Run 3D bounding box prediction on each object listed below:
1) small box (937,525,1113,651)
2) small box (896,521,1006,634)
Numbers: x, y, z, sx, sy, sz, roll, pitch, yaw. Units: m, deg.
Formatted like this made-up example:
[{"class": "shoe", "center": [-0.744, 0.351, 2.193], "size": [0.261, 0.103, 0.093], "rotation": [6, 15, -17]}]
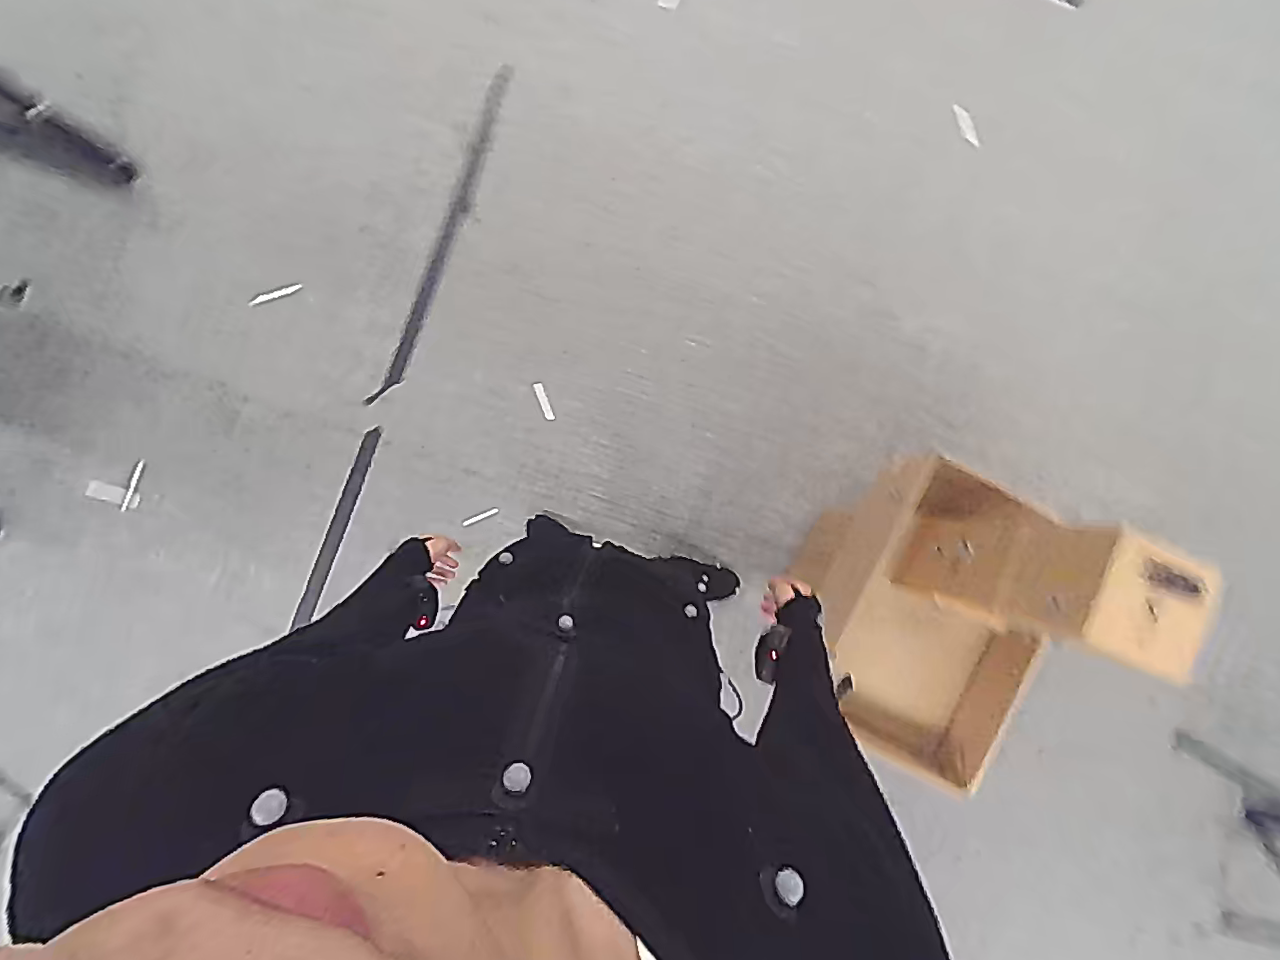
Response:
[{"class": "small box", "center": [0.706, 0.189, 1.009], "size": [0.179, 0.176, 0.168], "rotation": [23, 87, -3]}, {"class": "small box", "center": [0.692, 0.200, 1.172], "size": [0.168, 0.176, 0.179], "rotation": [25, 89, -2]}]
